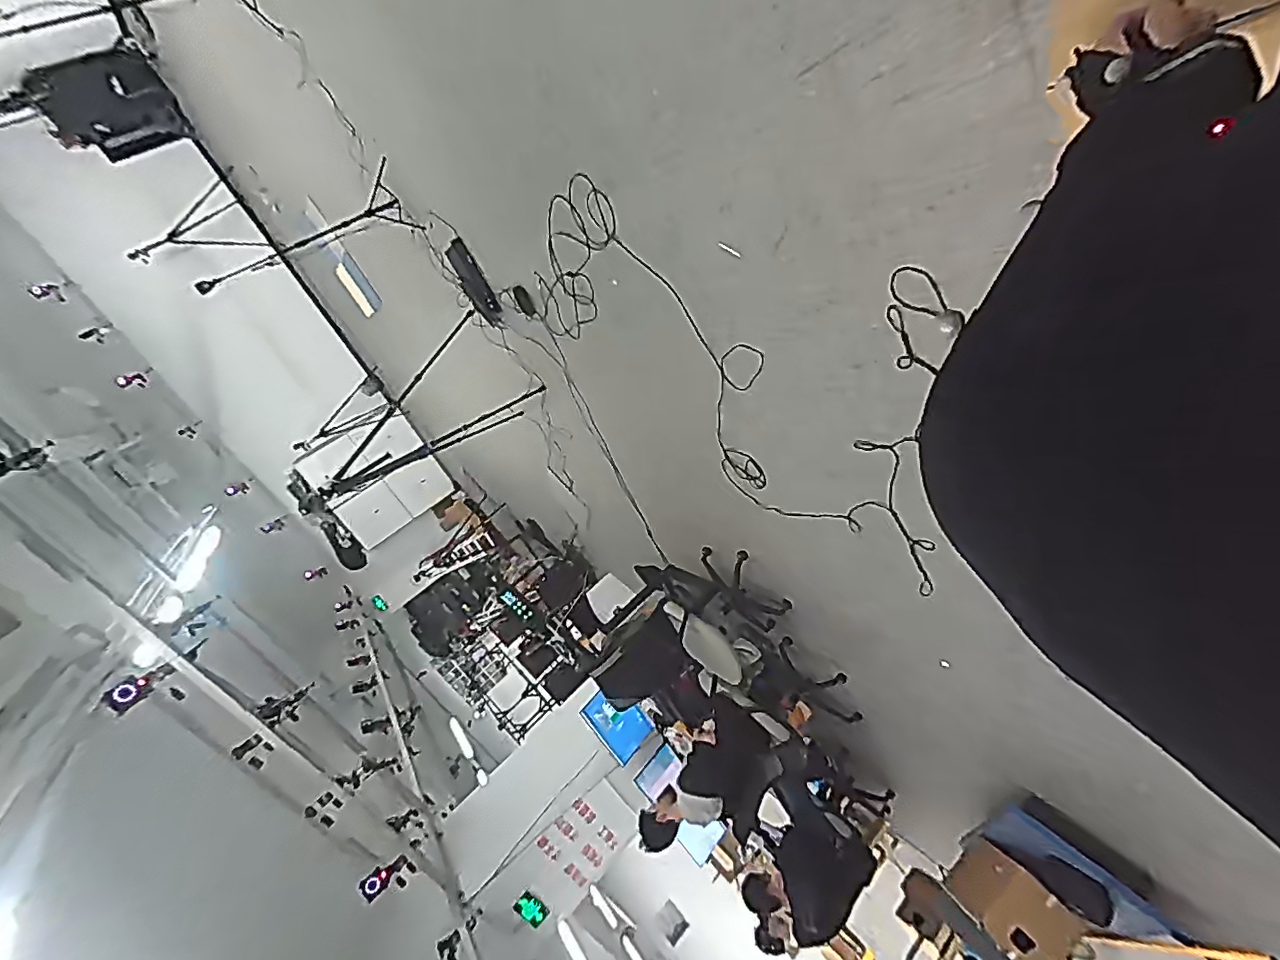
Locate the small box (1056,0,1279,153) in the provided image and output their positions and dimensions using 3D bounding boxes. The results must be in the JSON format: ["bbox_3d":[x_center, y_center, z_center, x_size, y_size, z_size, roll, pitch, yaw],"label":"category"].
[{"bbox_3d":[0.517,-0.456,0.510,0.168,0.179,0.176,7,97,50],"label":"small box"}]
